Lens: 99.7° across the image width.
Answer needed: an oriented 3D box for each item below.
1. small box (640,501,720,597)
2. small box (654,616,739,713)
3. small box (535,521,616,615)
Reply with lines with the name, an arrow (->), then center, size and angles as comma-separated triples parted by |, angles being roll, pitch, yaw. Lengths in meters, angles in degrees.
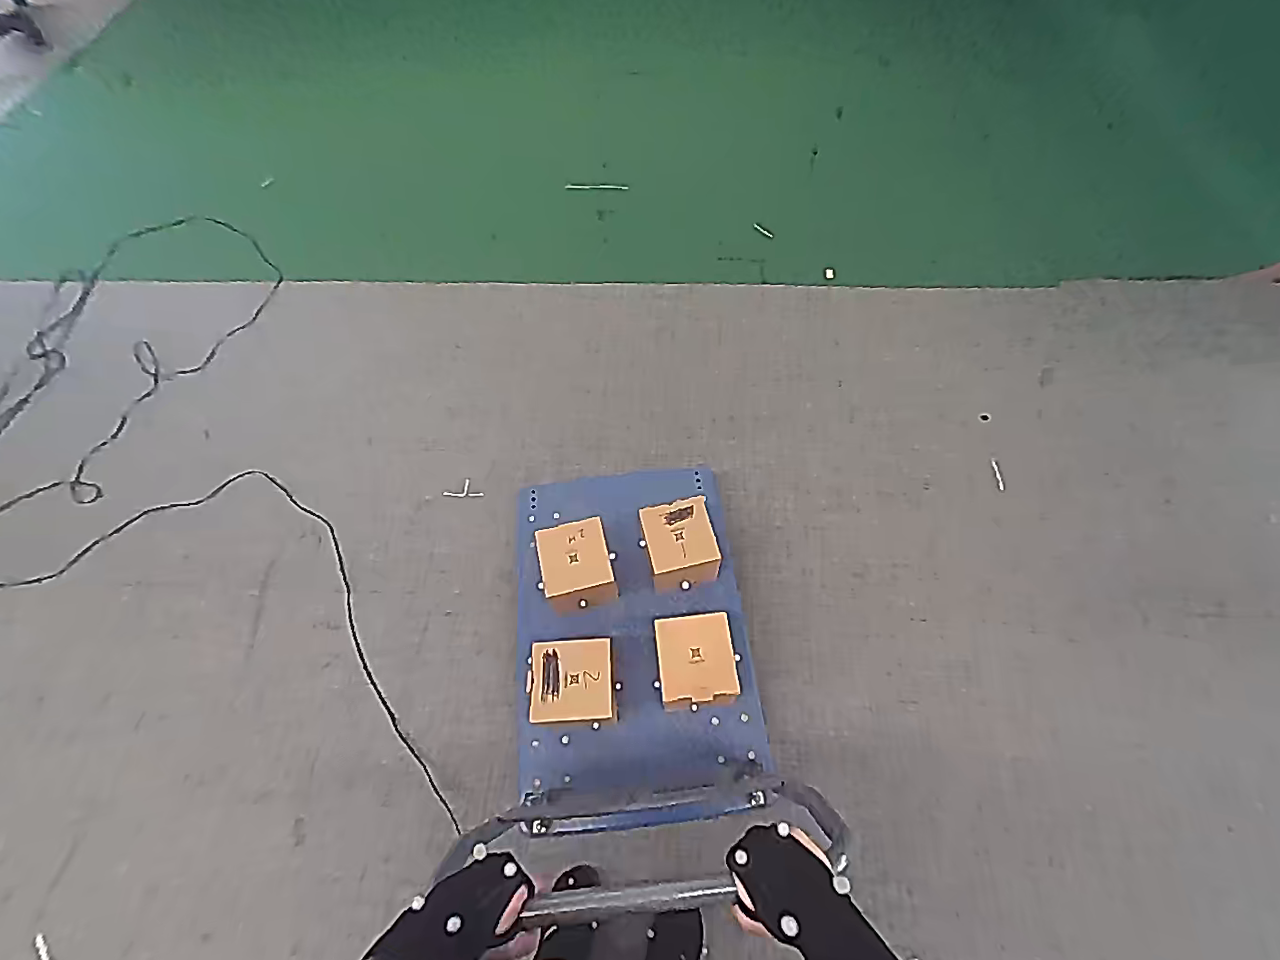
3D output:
small box -> 0.096, 0.179, 1.385 | 0.168, 0.176, 0.179 | -12, 62, -4
small box -> 0.122, 0.428, 1.247 | 0.168, 0.176, 0.179 | -6, 61, -1
small box -> -0.159, 0.229, 1.365 | 0.168, 0.176, 0.179 | -12, 61, -6
